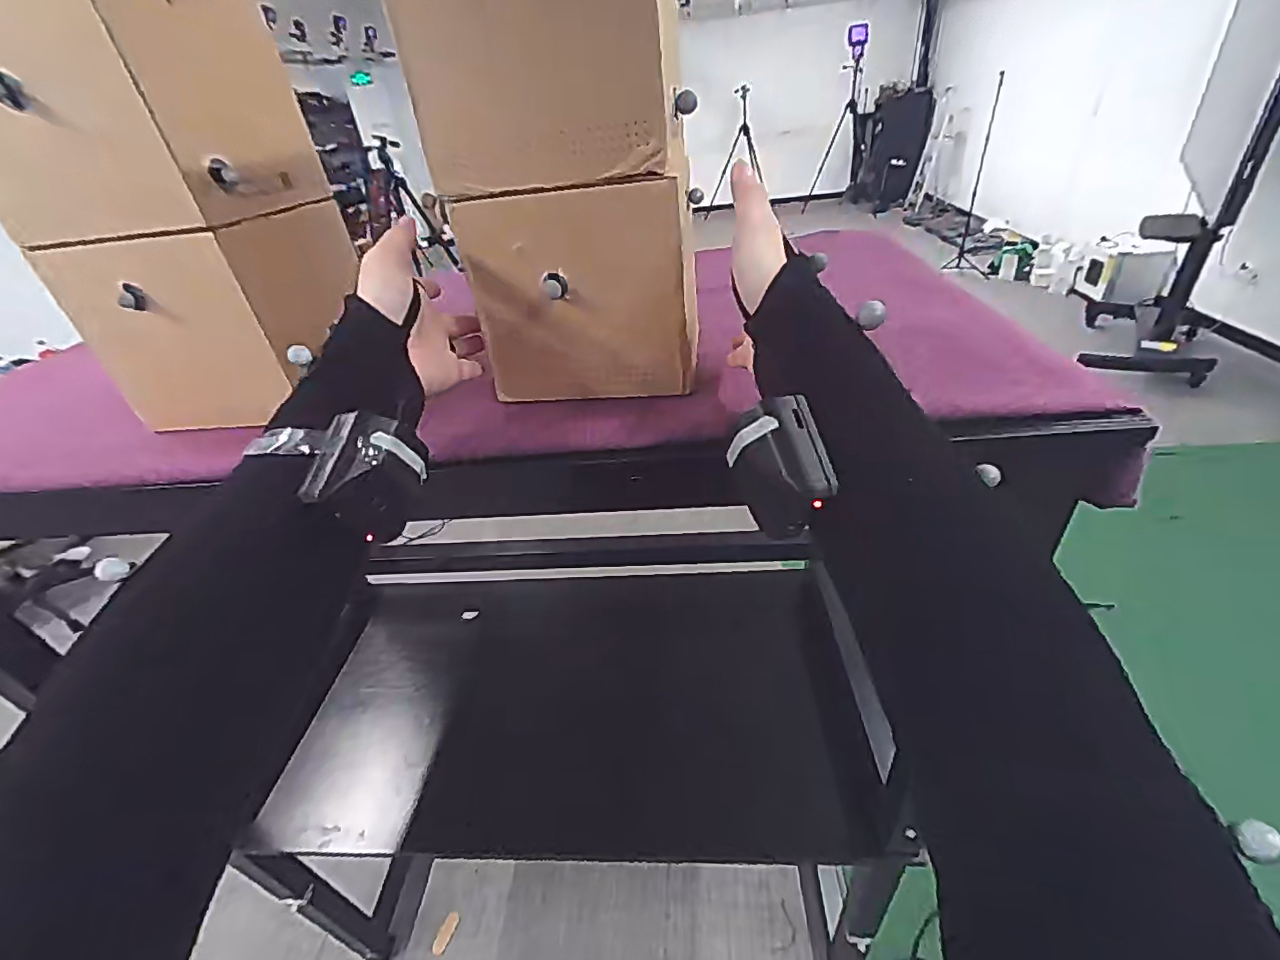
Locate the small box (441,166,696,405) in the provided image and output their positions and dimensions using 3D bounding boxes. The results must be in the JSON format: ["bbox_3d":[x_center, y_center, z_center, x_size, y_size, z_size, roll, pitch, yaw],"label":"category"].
[{"bbox_3d":[-0.045,-0.178,0.497,0.179,0.176,0.168,-3,35,9],"label":"small box"}]

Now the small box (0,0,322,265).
[{"bbox_3d":[-0.408,-0.287,0.441,0.179,0.176,0.168,-3,34,9],"label":"small box"}]

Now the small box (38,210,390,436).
[{"bbox_3d":[-0.389,-0.153,0.534,0.179,0.176,0.168,-2,35,9],"label":"small box"}]

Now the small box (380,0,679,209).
[{"bbox_3d":[-0.070,-0.312,0.408,0.179,0.176,0.168,-1,35,11],"label":"small box"}]
